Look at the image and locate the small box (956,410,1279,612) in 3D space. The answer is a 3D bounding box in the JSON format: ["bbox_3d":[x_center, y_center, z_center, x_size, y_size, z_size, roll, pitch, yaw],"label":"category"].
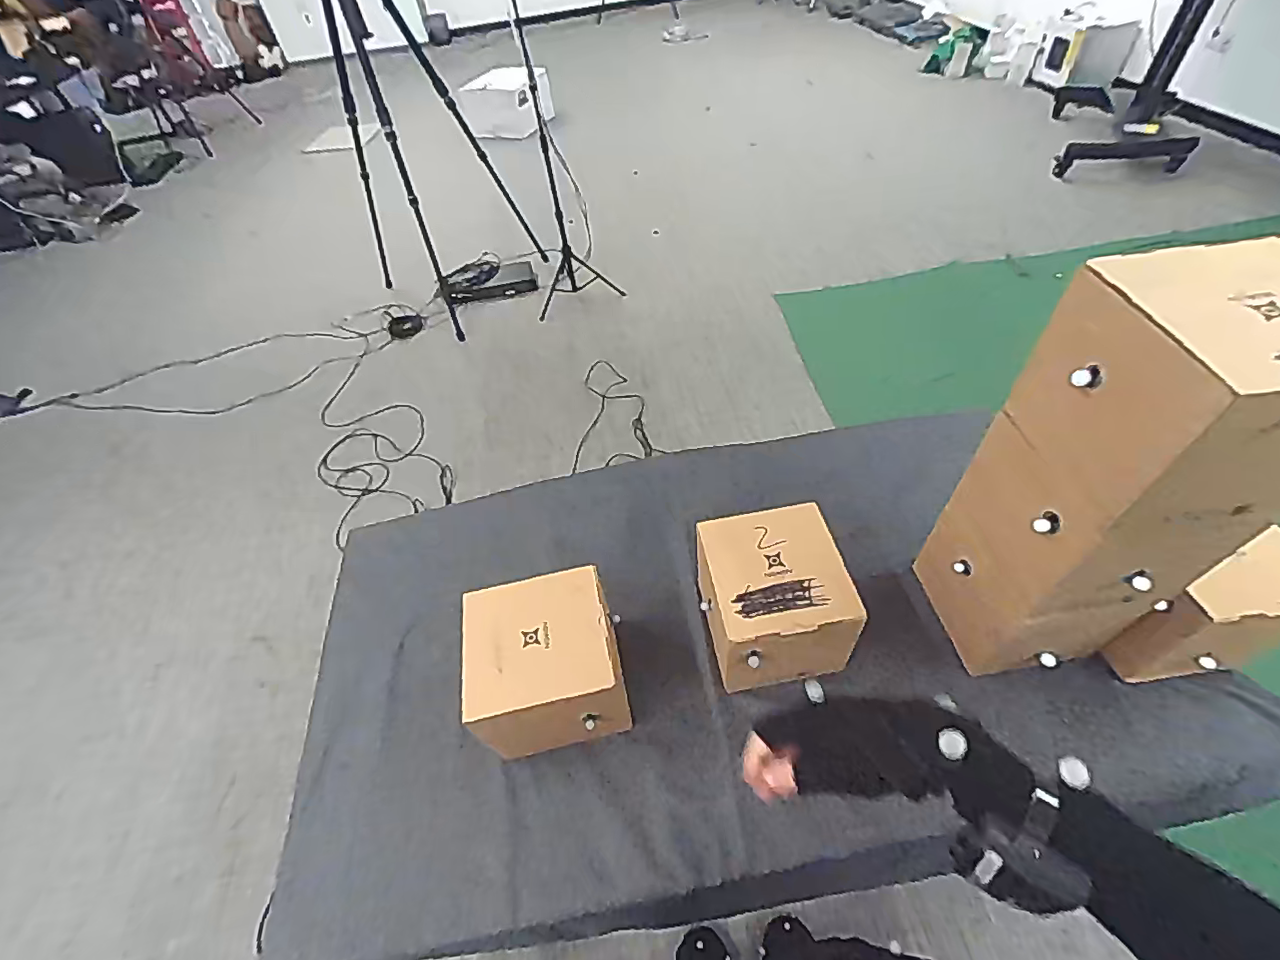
[{"bbox_3d":[0.488,0.031,0.593,0.168,0.176,0.179,-8,49,1],"label":"small box"}]

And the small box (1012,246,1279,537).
[{"bbox_3d":[0.470,-0.074,0.467,0.168,0.176,0.179,-7,48,2],"label":"small box"}]
